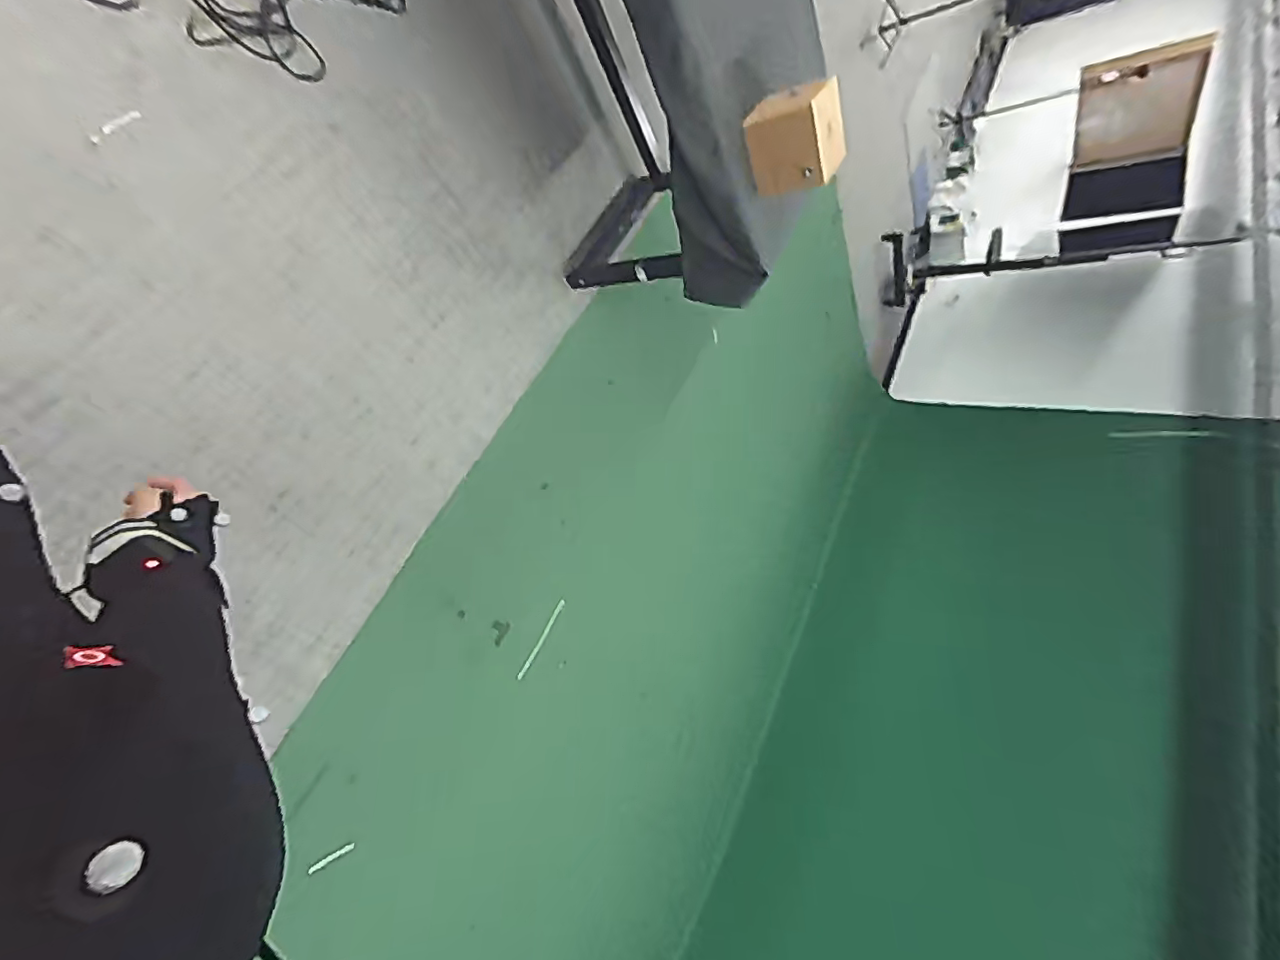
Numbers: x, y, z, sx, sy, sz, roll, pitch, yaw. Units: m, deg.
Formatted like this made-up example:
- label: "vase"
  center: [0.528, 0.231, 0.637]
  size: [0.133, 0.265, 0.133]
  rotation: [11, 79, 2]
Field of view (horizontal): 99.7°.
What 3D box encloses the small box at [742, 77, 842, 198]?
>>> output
- label: "small box"
  center: [0.357, -0.797, 1.272]
  size: [0.168, 0.176, 0.179]
  rotation: [-57, 138, -29]
